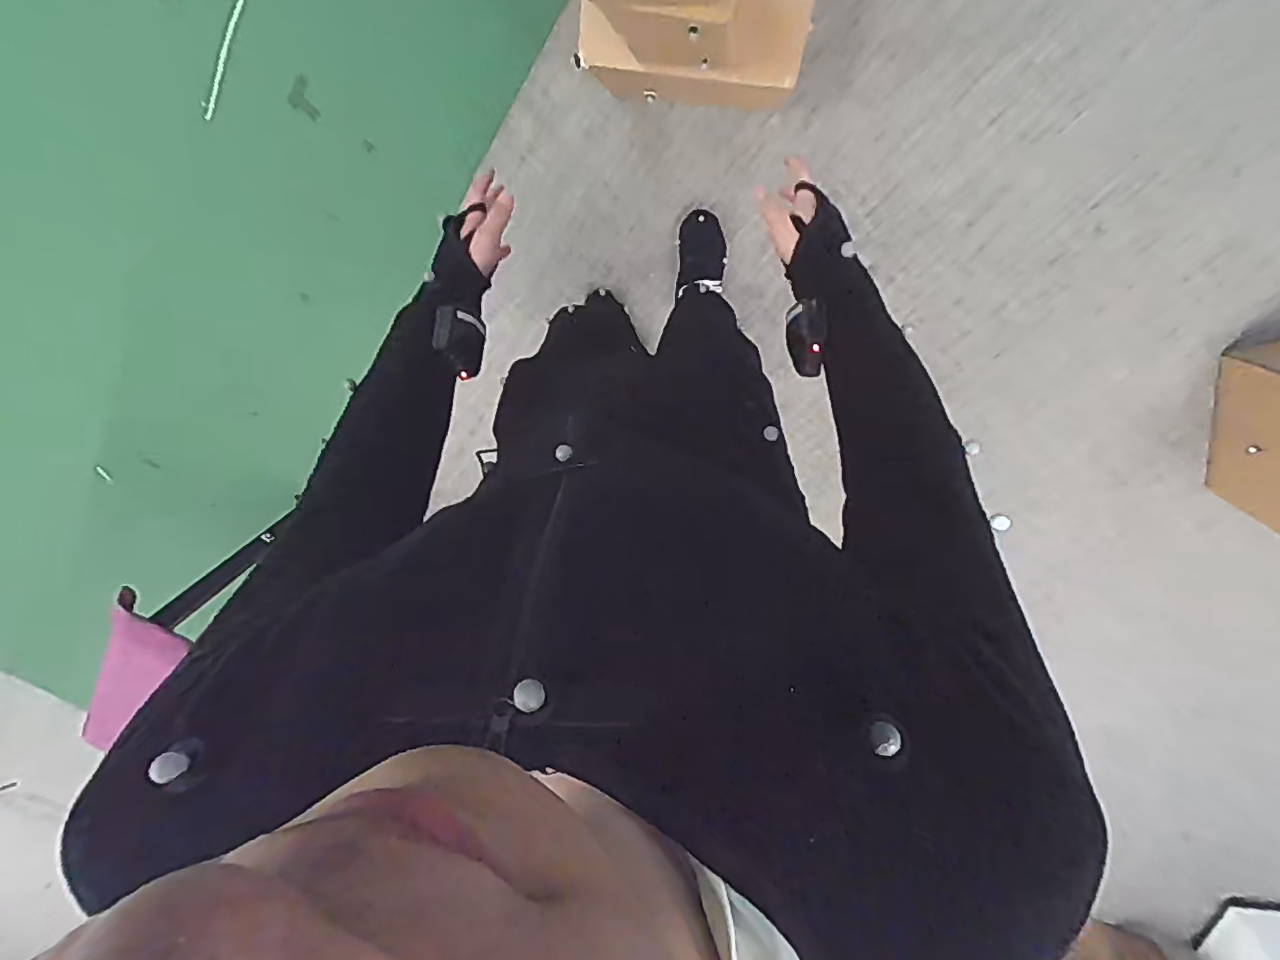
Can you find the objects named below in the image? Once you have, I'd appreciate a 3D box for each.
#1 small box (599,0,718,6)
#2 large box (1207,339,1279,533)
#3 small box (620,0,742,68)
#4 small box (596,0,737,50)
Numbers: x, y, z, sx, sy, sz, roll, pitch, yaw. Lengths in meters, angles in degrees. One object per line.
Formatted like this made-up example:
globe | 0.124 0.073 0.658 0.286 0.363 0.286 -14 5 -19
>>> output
small box | 0.015 -0.630 0.570 0.179 0.176 0.168 6 119 5
large box | 1.624 -0.112 1.255 0.320 0.320 0.408 -15 114 15
small box | 0.075 -0.775 0.858 0.179 0.176 0.168 10 119 4
small box | 0.052 -0.697 0.715 0.179 0.176 0.168 12 119 3
